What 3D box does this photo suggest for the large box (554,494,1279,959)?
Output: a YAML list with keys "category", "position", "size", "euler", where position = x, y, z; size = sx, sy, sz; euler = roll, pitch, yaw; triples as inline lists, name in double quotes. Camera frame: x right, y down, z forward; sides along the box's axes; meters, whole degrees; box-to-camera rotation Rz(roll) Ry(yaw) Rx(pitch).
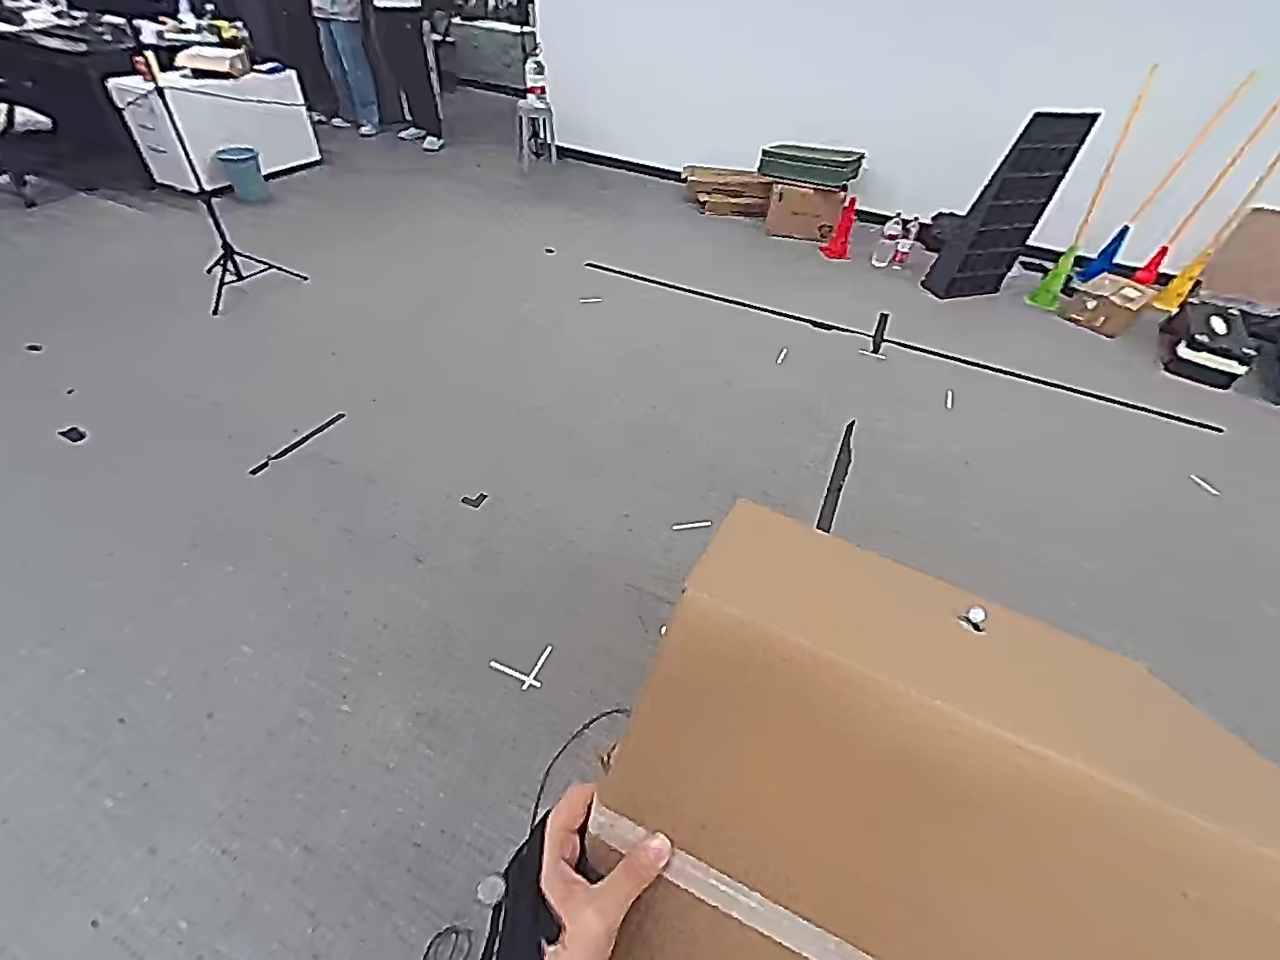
- category: "large box"
  position: [0.203, 0.236, 0.426]
  size: [0.408, 0.320, 0.320]
  euler: [22, 14, 11]
